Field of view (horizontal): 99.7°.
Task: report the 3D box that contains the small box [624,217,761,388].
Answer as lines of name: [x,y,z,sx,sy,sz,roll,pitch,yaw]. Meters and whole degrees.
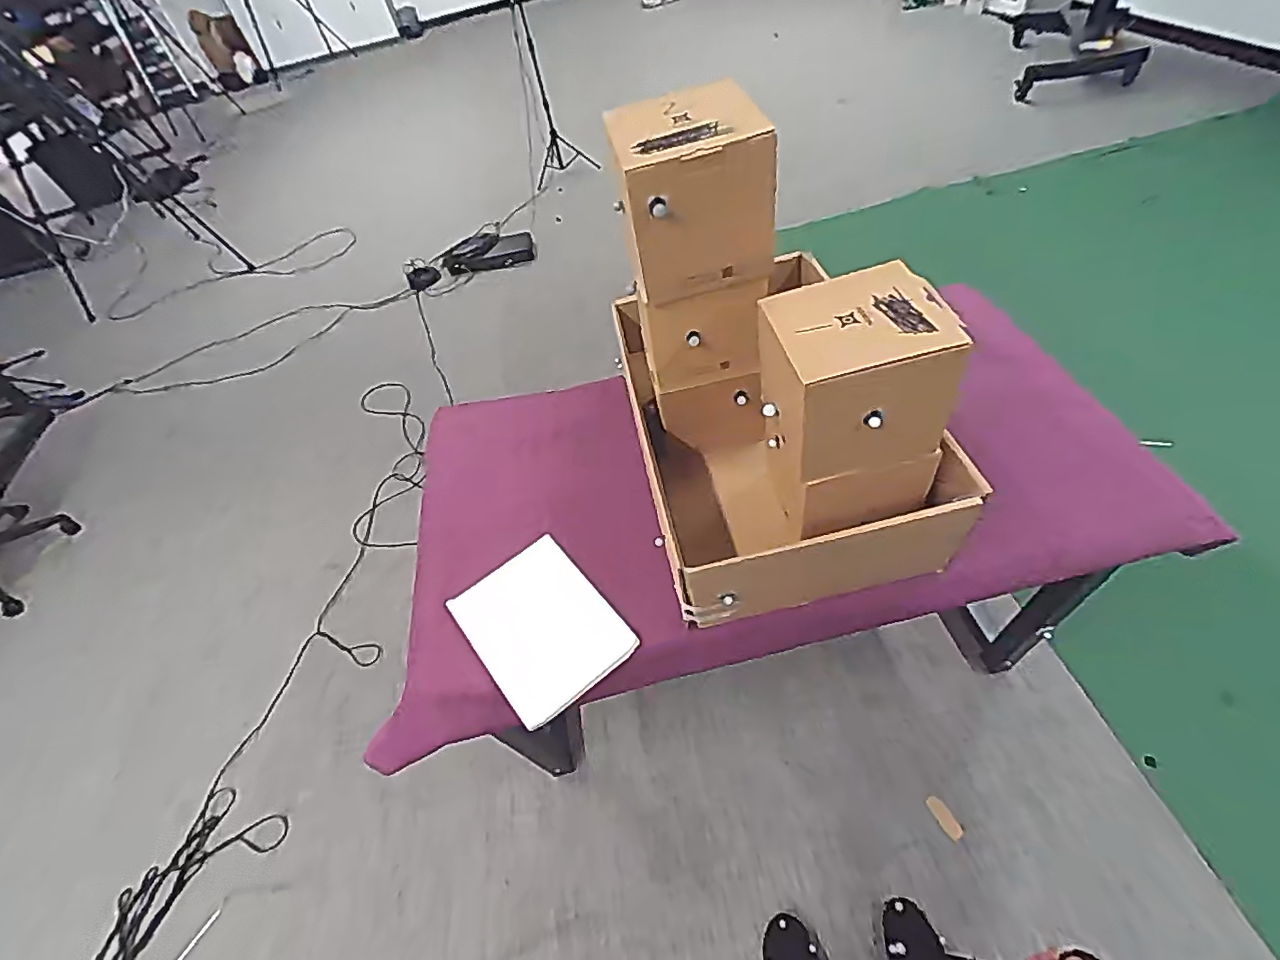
small box: [0.081,-0.257,0.813,0.168,0.176,0.179,-13,52,2]

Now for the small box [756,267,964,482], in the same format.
small box: [0.249,-0.123,0.659,0.179,0.176,0.168,-14,49,4]
